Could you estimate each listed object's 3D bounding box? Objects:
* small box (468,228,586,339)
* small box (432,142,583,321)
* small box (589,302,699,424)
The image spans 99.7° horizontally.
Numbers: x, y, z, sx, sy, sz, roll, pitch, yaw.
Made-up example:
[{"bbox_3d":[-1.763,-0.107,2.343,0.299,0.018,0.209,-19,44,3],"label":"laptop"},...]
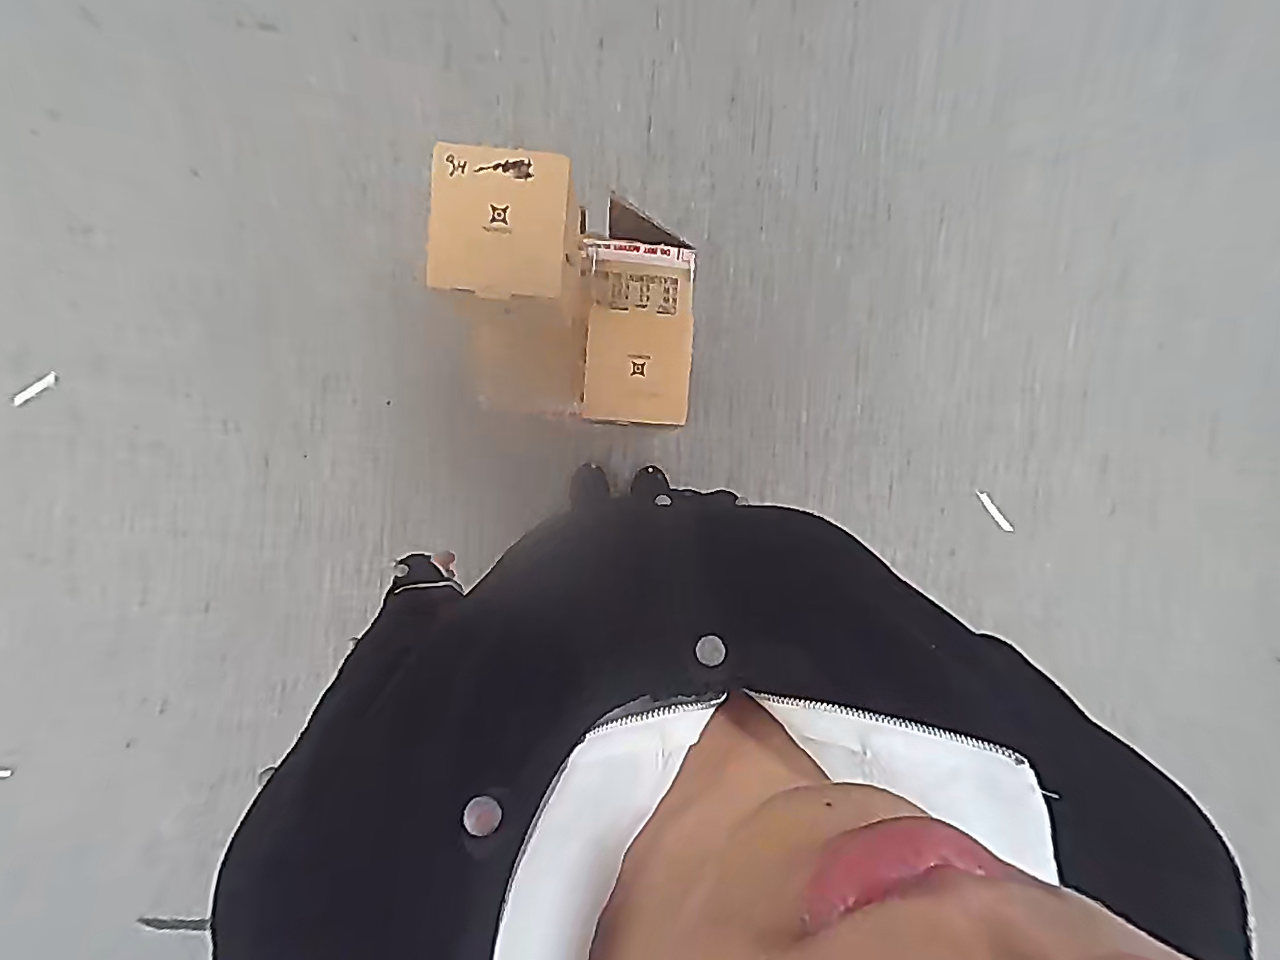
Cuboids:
[{"bbox_3d":[-0.181,-0.345,0.903,0.168,0.176,0.179,3,94,-2],"label":"small box"},{"bbox_3d":[-0.170,-0.323,0.740,0.168,0.176,0.179,4,95,-2],"label":"small box"},{"bbox_3d":[0.001,-0.191,0.926,0.168,0.176,0.179,3,95,-3],"label":"small box"}]
